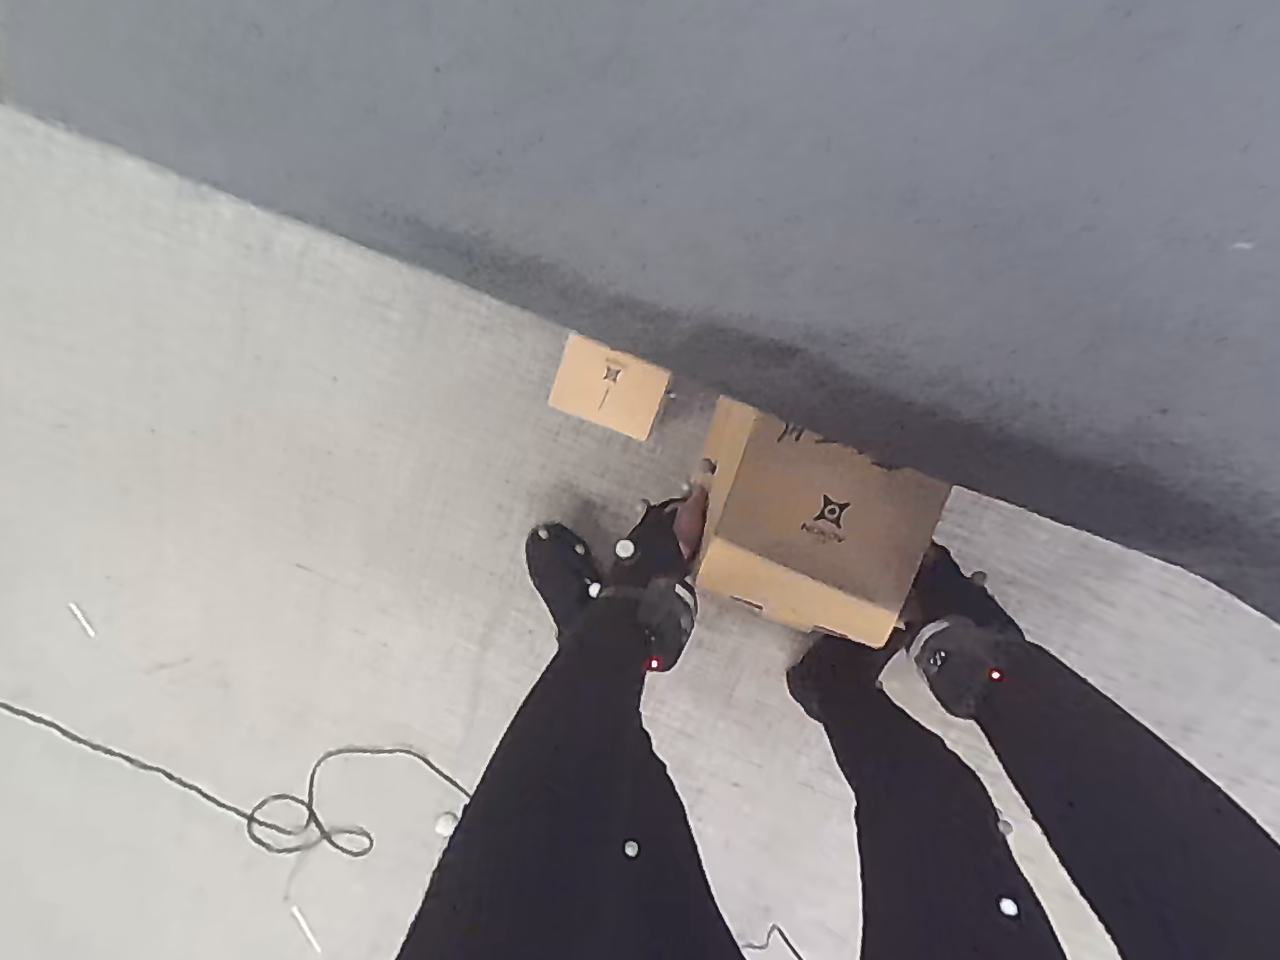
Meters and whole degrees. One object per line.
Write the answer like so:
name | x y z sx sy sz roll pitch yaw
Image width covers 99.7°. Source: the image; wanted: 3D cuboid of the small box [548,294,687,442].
small box | -0.029 -0.179 0.877 0.168 0.176 0.179 21 104 3
